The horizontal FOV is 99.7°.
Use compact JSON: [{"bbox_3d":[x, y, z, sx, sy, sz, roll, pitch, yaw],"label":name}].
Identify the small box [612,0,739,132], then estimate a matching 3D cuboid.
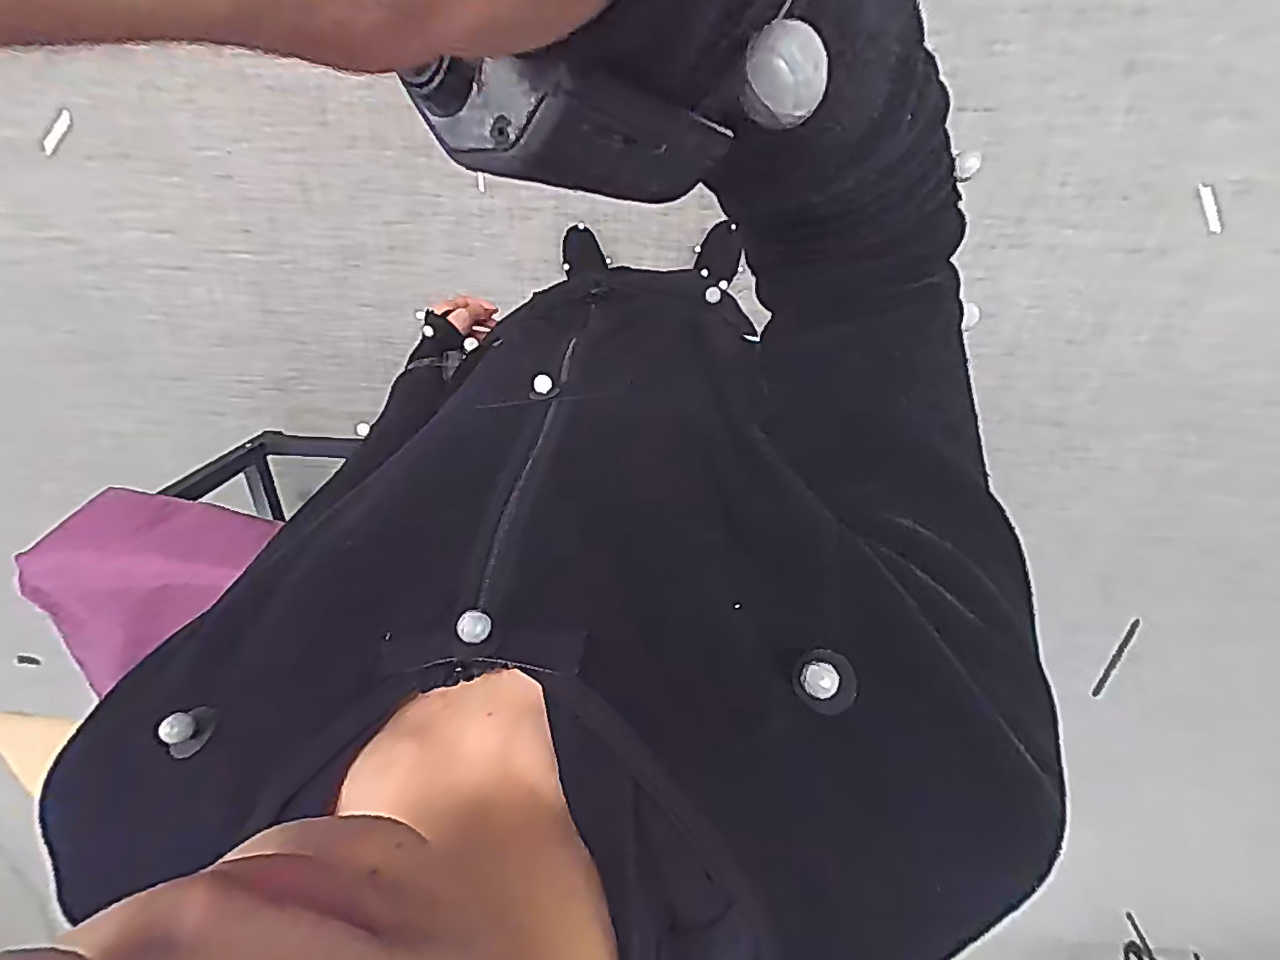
[{"bbox_3d":[0.063,-0.715,0.919,0.168,0.176,0.179,-15,117,10],"label":"small box"}]
